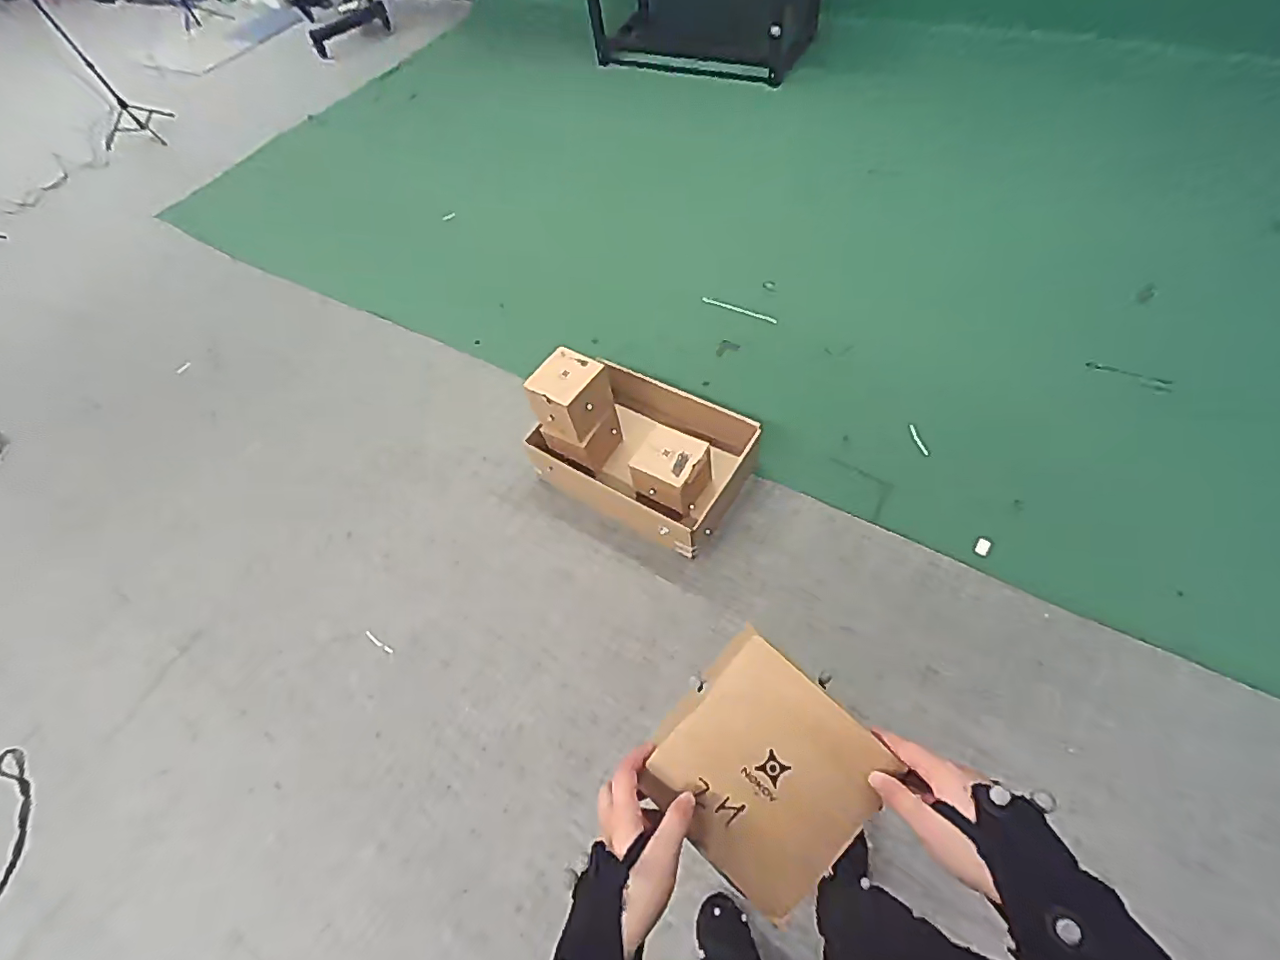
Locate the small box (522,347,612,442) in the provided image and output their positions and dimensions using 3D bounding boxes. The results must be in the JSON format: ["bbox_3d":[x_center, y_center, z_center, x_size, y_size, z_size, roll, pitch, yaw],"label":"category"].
[{"bbox_3d":[-0.200,-0.240,1.549,0.168,0.176,0.179,28,68,24],"label":"small box"}]

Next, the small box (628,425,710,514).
[{"bbox_3d":[0.091,-0.023,1.562,0.179,0.176,0.168,26,66,24],"label":"small box"}]
